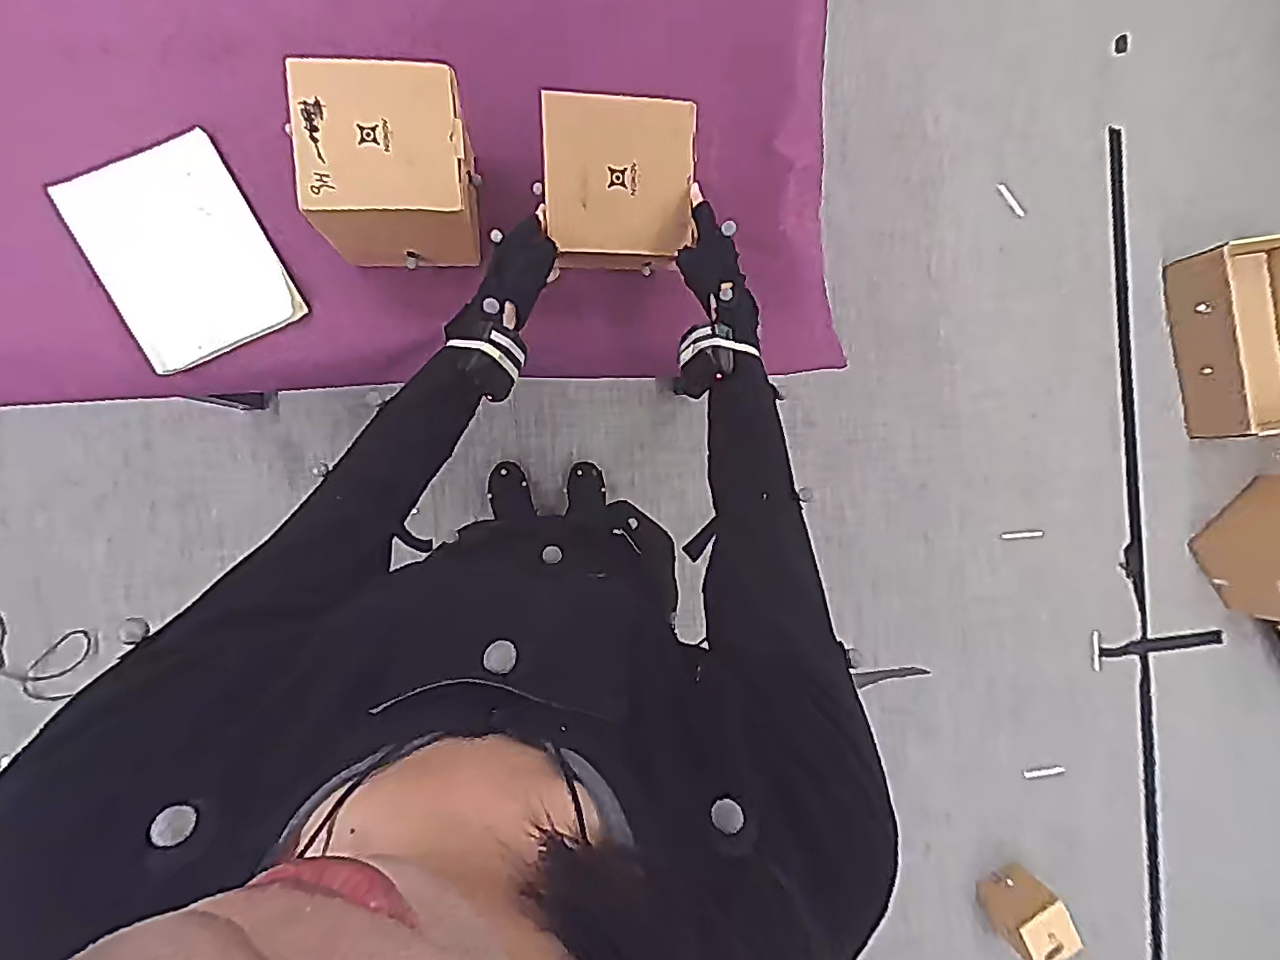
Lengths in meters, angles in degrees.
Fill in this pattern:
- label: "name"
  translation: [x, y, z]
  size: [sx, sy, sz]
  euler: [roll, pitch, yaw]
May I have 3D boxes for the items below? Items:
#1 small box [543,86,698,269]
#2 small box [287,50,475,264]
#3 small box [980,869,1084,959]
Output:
- label: "small box"
  translation: [-0.033, -0.369, 0.691]
  size: [0.179, 0.176, 0.168]
  euler: [-2, 105, -8]
- label: "small box"
  translation: [-0.302, -0.382, 0.671]
  size: [0.179, 0.176, 0.168]
  euler: [-4, 91, -11]
- label: "small box"
  translation: [1.217, 1.380, 1.688]
  size: [0.168, 0.176, 0.179]
  euler: [-26, 94, -9]
